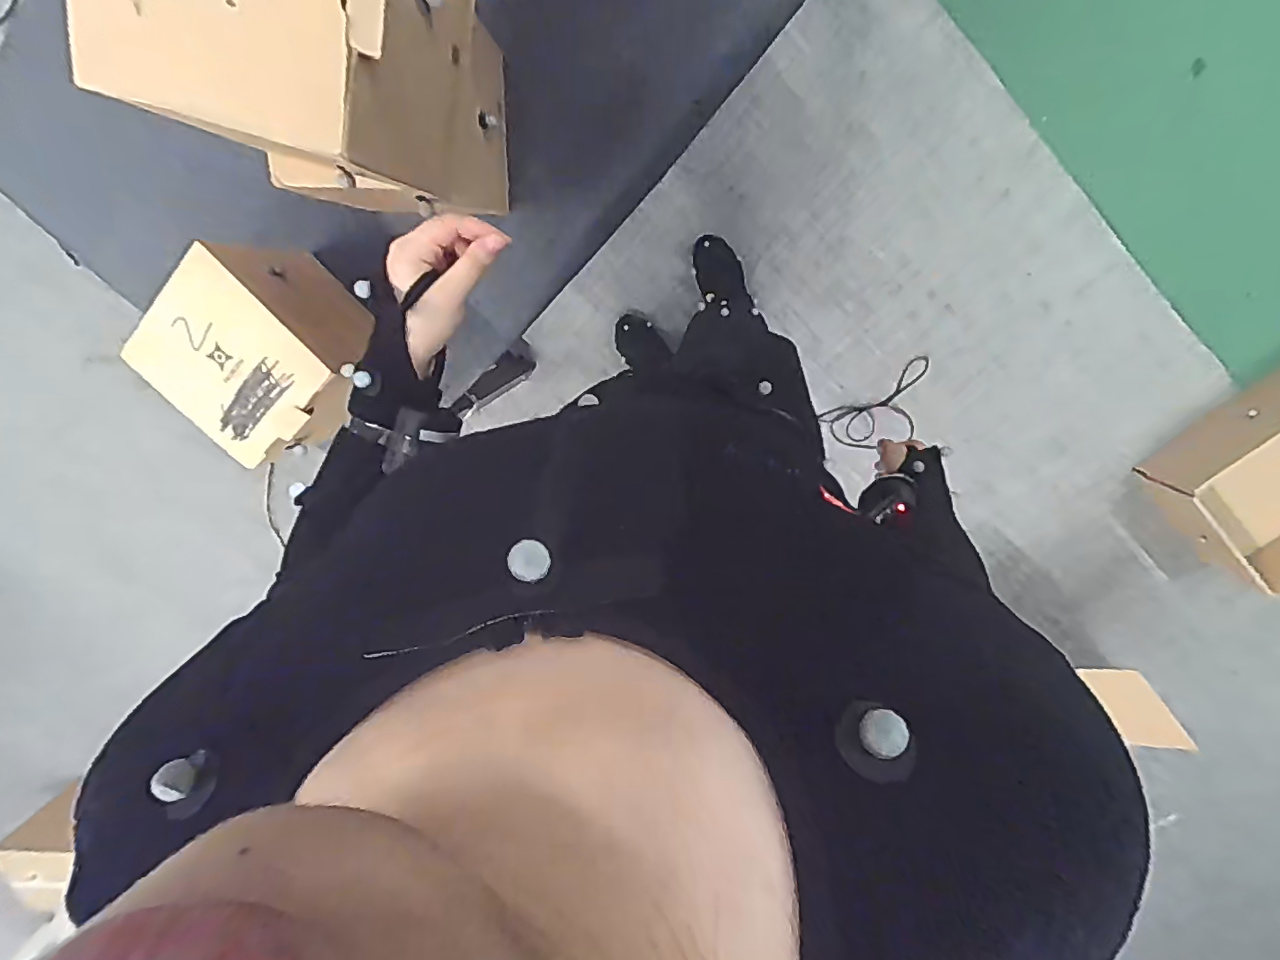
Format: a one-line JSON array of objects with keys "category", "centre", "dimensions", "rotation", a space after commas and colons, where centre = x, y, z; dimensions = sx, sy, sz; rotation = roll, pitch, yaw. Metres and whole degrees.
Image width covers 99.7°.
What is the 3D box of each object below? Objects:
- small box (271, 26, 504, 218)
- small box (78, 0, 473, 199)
[{"category": "small box", "centre": [-0.242, -0.365, 0.544], "dimensions": [0.179, 0.176, 0.168], "rotation": [3, 110, 4]}, {"category": "small box", "centre": [-0.238, -0.316, 0.388], "dimensions": [0.179, 0.176, 0.168], "rotation": [15, 109, 0]}]
